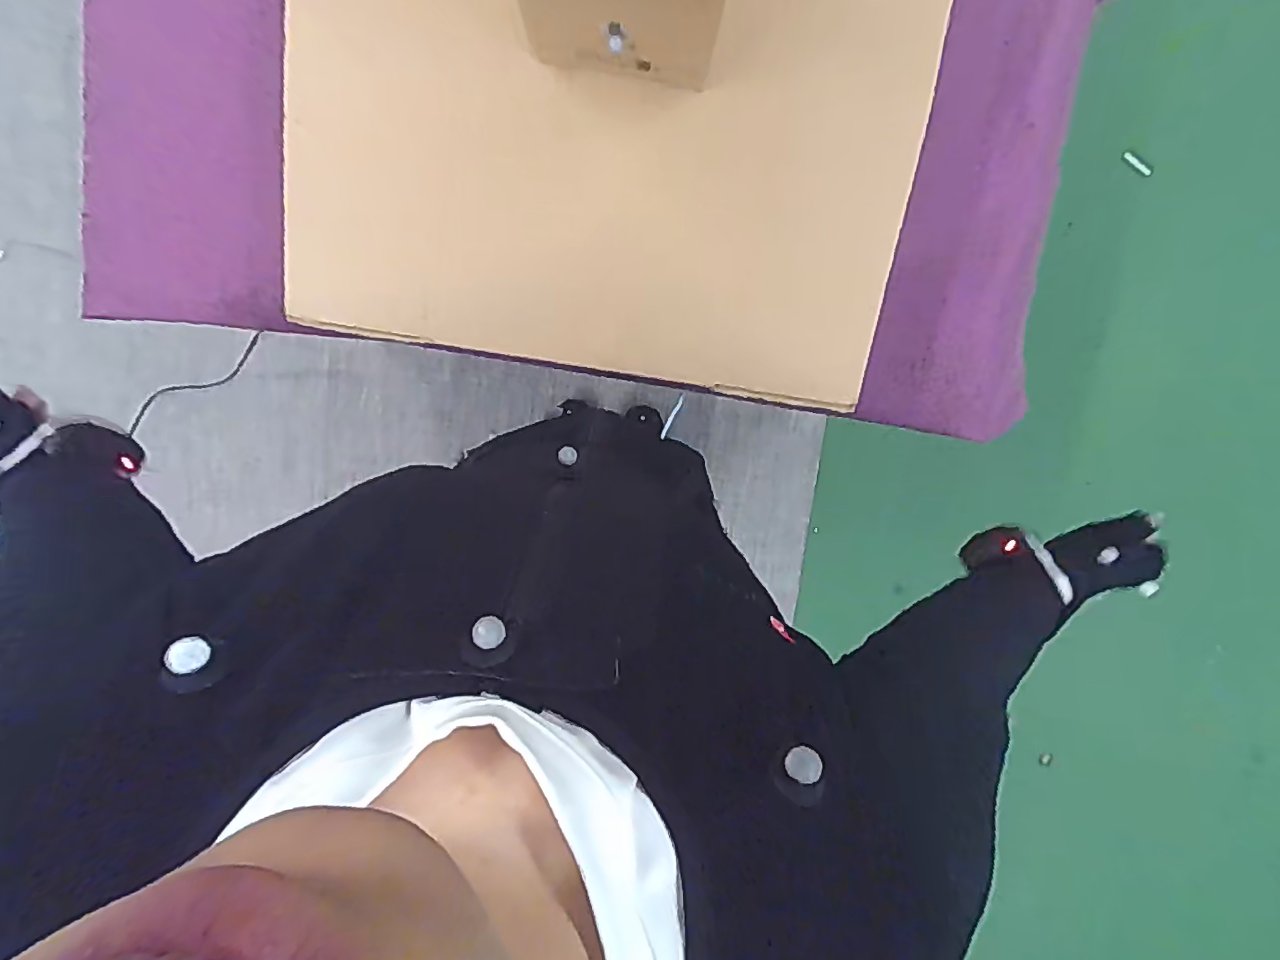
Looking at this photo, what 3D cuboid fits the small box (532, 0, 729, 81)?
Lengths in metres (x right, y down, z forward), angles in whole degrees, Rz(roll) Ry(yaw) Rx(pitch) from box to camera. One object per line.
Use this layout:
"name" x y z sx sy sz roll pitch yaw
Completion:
"small box" 0.000 -0.458 0.411 0.168 0.176 0.179 9 97 -2
